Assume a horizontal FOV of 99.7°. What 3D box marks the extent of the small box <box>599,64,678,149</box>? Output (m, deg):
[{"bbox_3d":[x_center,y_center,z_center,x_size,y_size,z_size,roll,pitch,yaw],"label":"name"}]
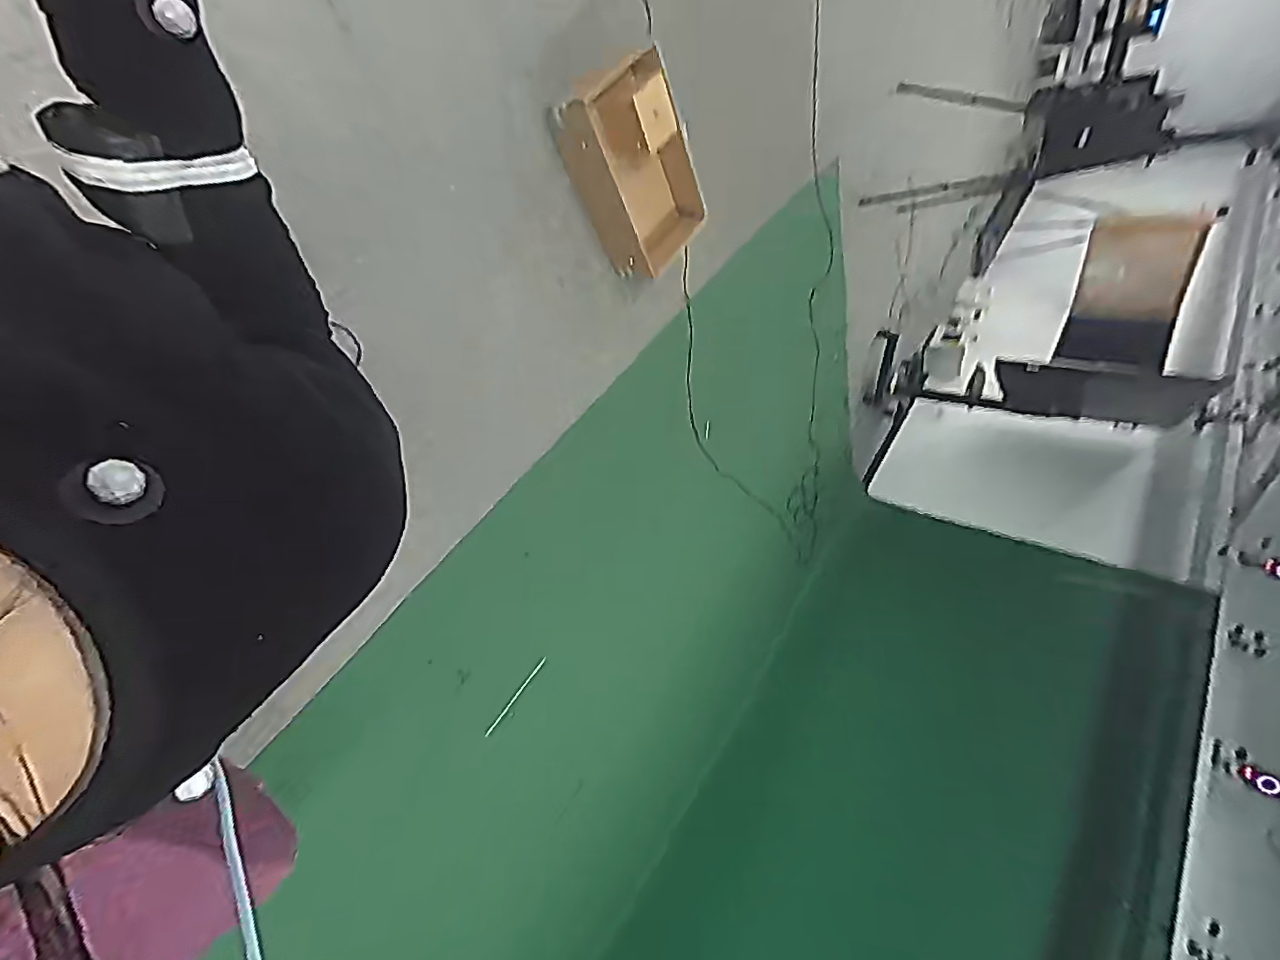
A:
[{"bbox_3d":[-0.006,-1.222,1.781,0.168,0.176,0.179,-53,141,-19],"label":"small box"}]
